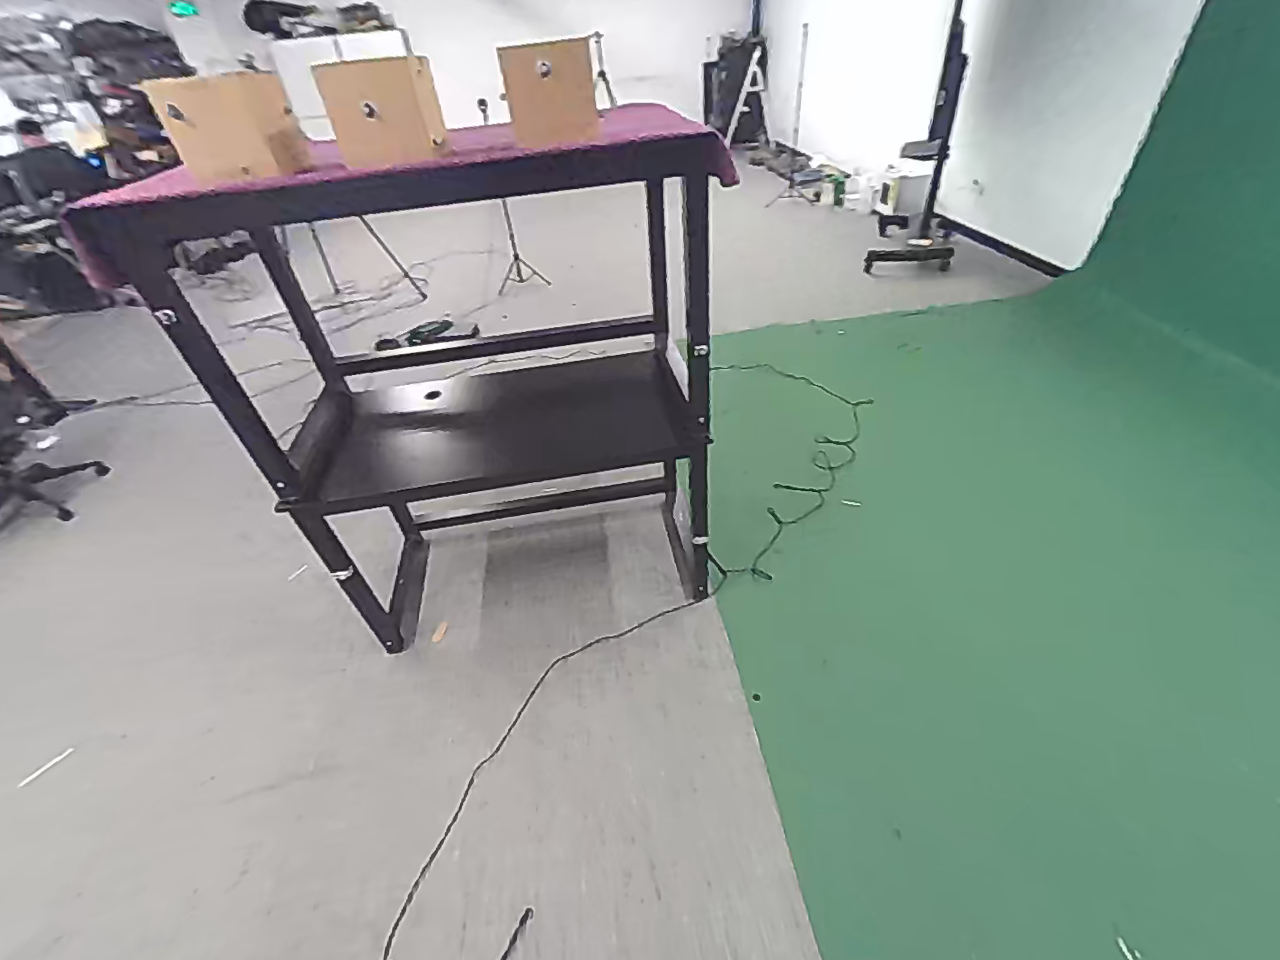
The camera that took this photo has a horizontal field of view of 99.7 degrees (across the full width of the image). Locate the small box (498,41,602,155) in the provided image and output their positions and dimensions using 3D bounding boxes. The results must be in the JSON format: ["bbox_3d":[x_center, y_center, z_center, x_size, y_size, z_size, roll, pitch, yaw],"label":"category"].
[{"bbox_3d":[-0.177,-0.782,1.112,0.179,0.176,0.168,-7,39,-1],"label":"small box"}]

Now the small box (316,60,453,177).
[{"bbox_3d":[-0.495,-0.723,1.083,0.179,0.176,0.168,-7,39,1],"label":"small box"}]
